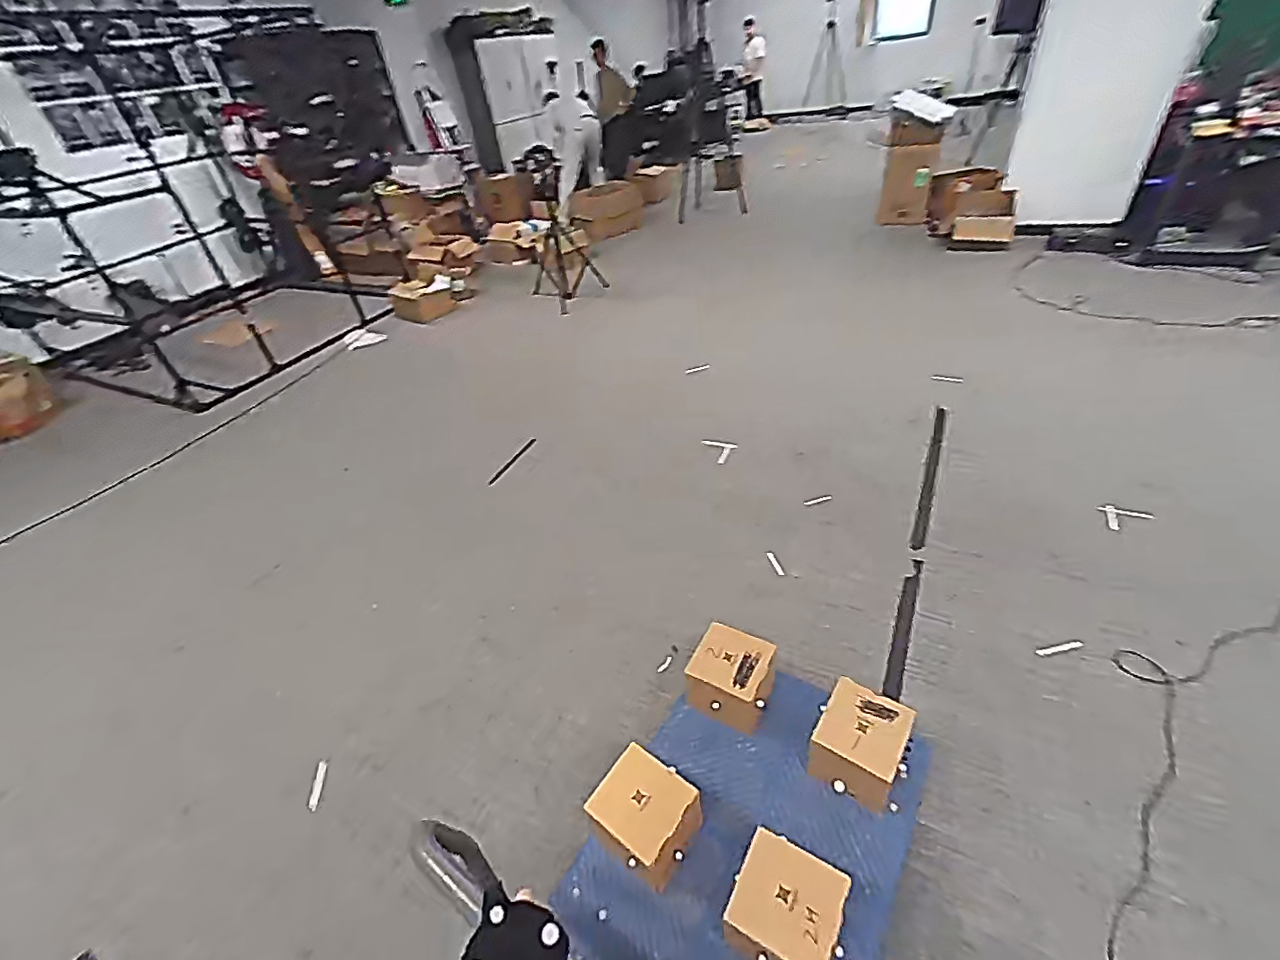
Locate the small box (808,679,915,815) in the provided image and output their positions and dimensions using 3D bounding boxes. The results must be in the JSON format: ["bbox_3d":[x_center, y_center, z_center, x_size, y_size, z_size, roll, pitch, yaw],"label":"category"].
[{"bbox_3d":[0.484,0.589,1.197,0.168,0.176,0.179,20,47,32],"label":"small box"}]

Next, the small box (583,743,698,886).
[{"bbox_3d":[0.006,0.708,1.142,0.179,0.176,0.168,23,47,32],"label":"small box"}]

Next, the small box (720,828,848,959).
[{"bbox_3d":[0.261,0.790,0.986,0.179,0.176,0.168,16,45,29],"label":"small box"}]
